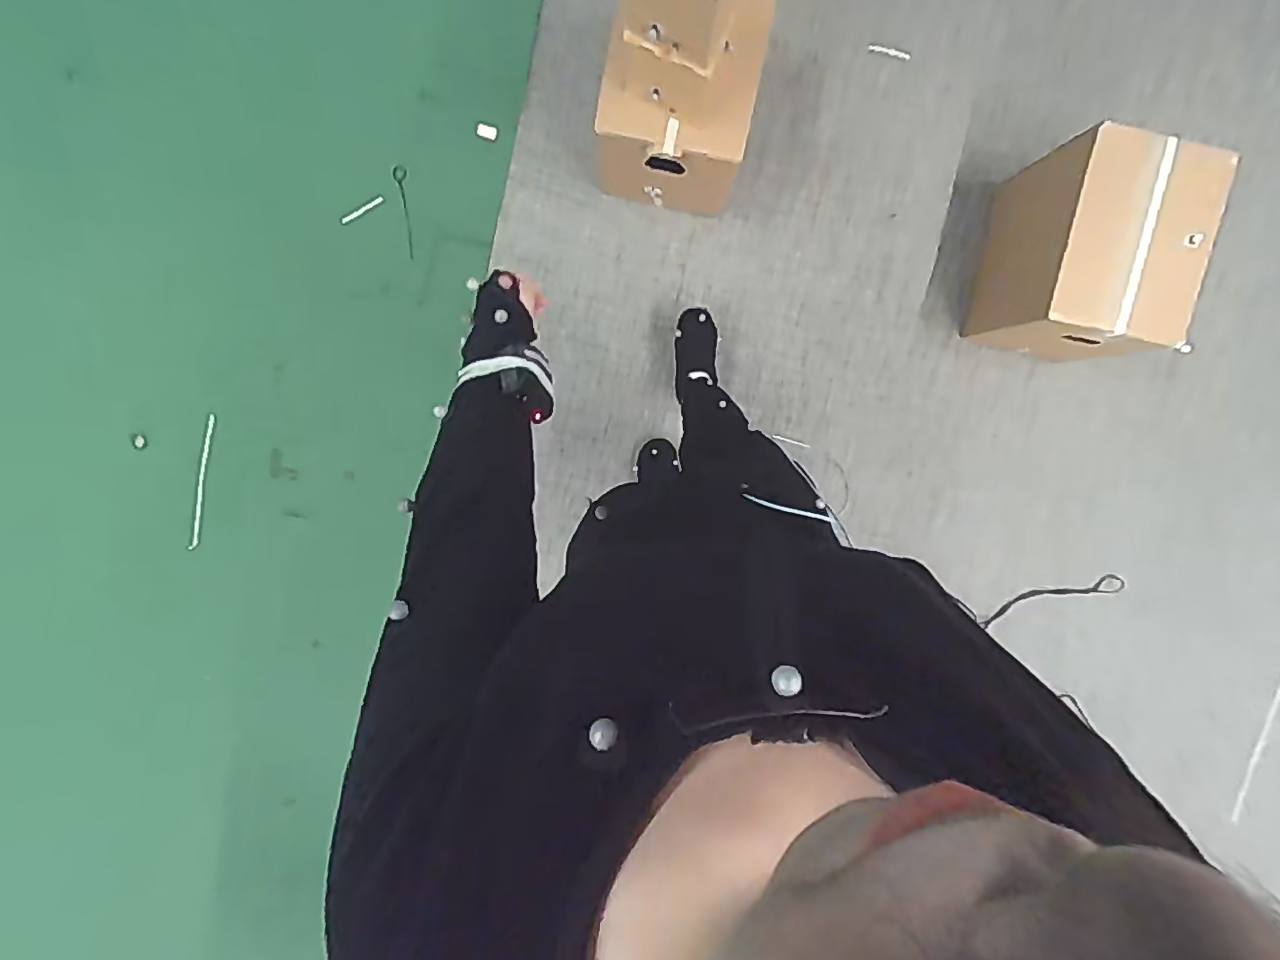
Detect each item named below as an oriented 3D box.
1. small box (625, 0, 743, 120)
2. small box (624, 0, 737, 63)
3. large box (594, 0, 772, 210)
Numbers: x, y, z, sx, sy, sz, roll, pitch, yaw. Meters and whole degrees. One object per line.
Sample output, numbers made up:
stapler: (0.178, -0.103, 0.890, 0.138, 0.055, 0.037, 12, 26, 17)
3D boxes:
small box: (0.077, -0.813, 0.986, 0.168, 0.176, 0.179, 22, 97, -3)
small box: (0.076, -0.802, 0.823, 0.168, 0.176, 0.179, 25, 97, -3)
large box: (0.089, -0.892, 1.221, 0.320, 0.320, 0.408, 11, 96, -2)
